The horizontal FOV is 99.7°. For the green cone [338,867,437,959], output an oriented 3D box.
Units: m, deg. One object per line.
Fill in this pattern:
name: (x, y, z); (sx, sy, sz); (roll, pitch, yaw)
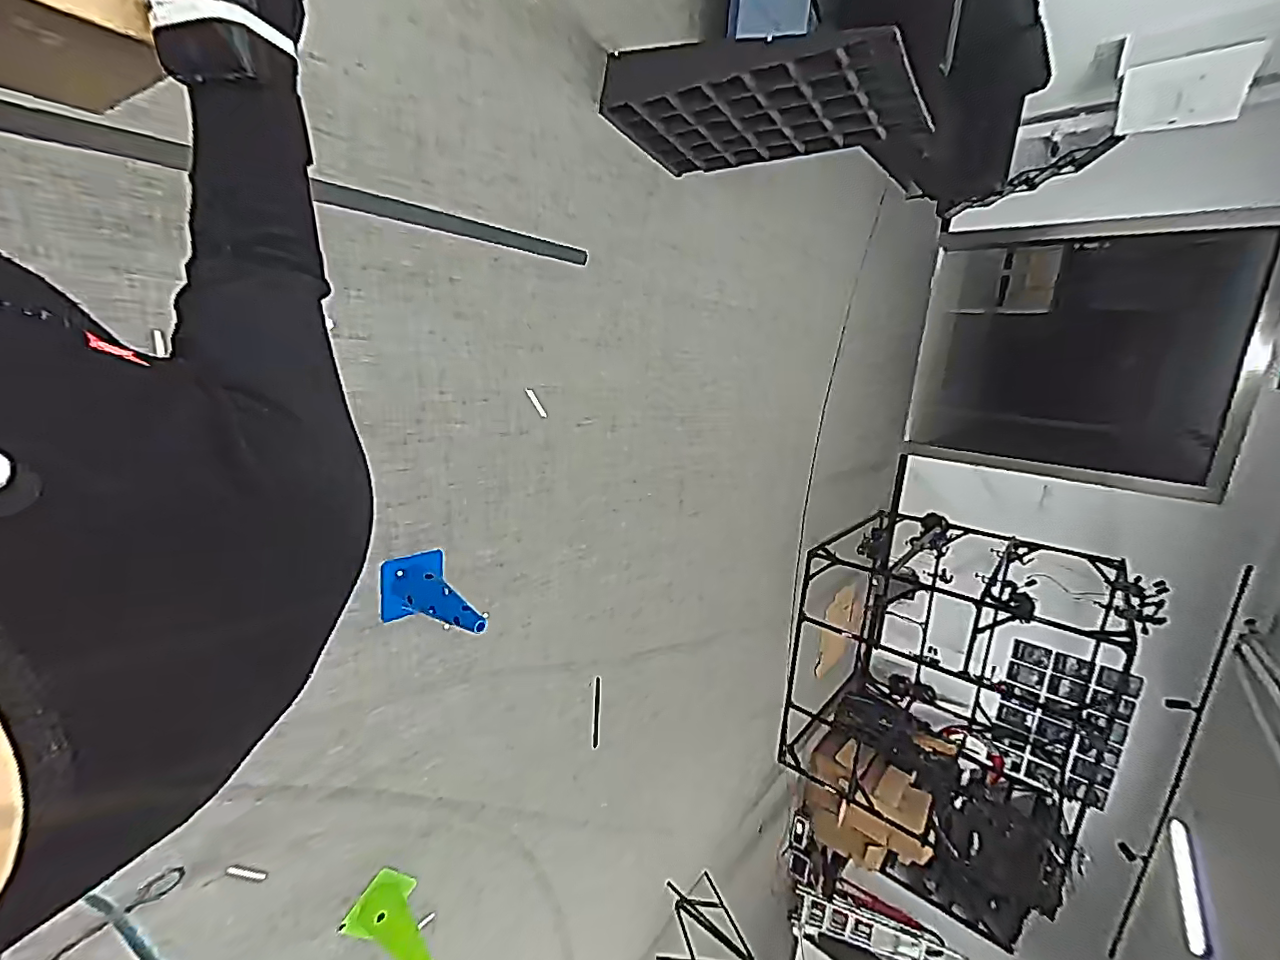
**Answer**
green cone: (-0.749, 1.459, 1.721); (0.202, 0.368, 0.200); (-53, 138, -29)

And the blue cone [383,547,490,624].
blue cone: (-0.582, 0.346, 1.594); (0.192, 0.380, 0.193); (-7, 108, -52)

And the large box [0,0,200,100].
large box: (-0.524, -0.452, 0.260); (0.408, 0.320, 0.320); (-13, 116, -53)
